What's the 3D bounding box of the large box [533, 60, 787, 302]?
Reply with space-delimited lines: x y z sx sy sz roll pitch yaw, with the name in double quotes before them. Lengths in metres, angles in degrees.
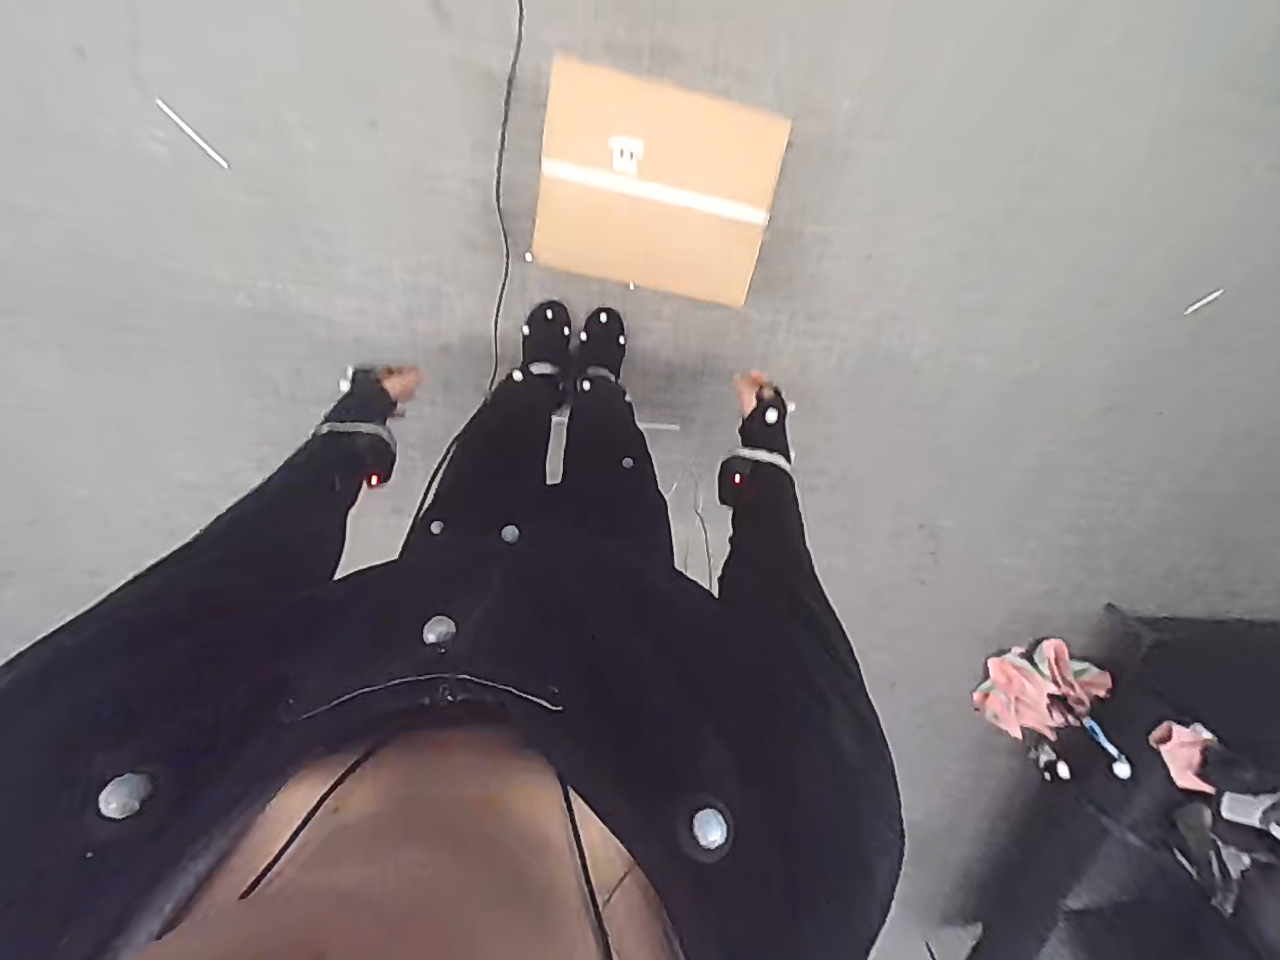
"large box" 0.019 -0.567 1.082 0.408 0.320 0.320 9 113 -9
